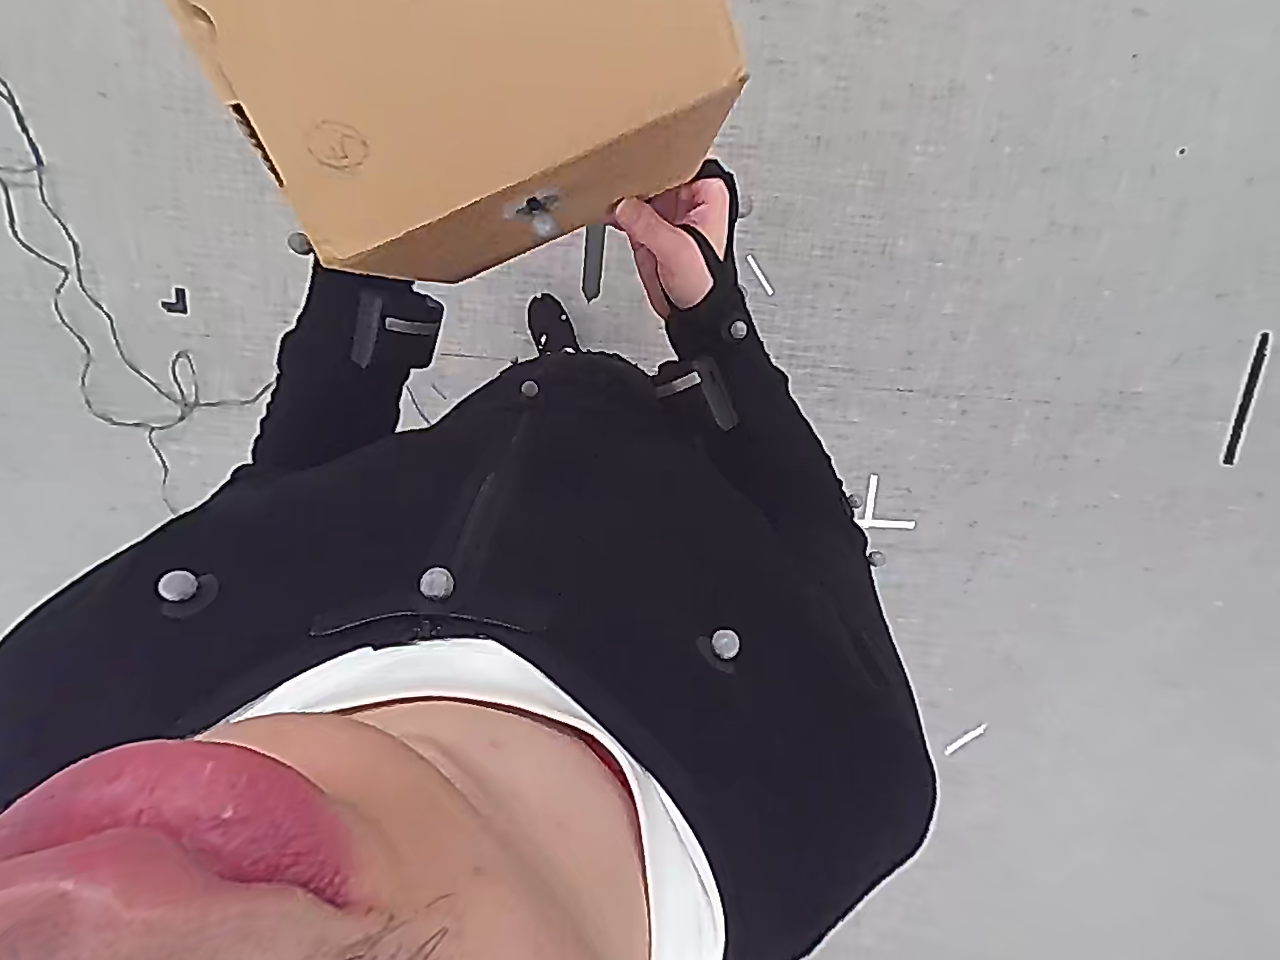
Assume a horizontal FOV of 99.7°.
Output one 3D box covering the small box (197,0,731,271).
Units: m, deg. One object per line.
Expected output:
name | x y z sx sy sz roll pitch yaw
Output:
small box | -0.076 -0.215 0.263 0.179 0.176 0.168 -22 108 5
